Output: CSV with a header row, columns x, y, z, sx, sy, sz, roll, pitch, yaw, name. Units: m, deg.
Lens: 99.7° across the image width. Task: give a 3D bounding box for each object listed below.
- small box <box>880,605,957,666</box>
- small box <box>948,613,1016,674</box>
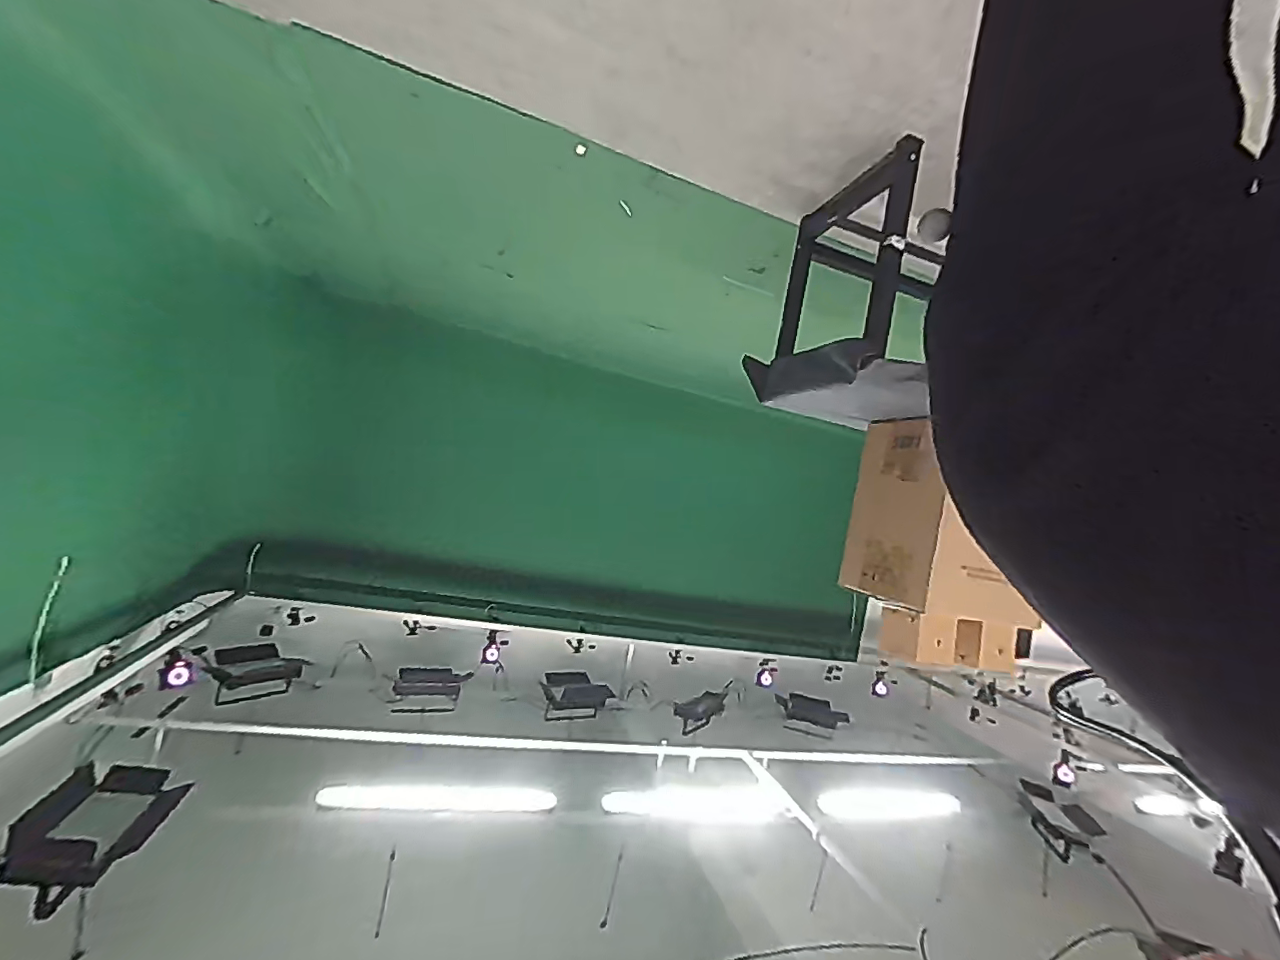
x,y,z,sx,sy,sz,roll,pitch,yaw,name
0.963,0.534,1.872,0.179,0.176,0.168,11,174,-20,small box
1.209,0.580,1.934,0.179,0.176,0.168,11,174,-19,small box
